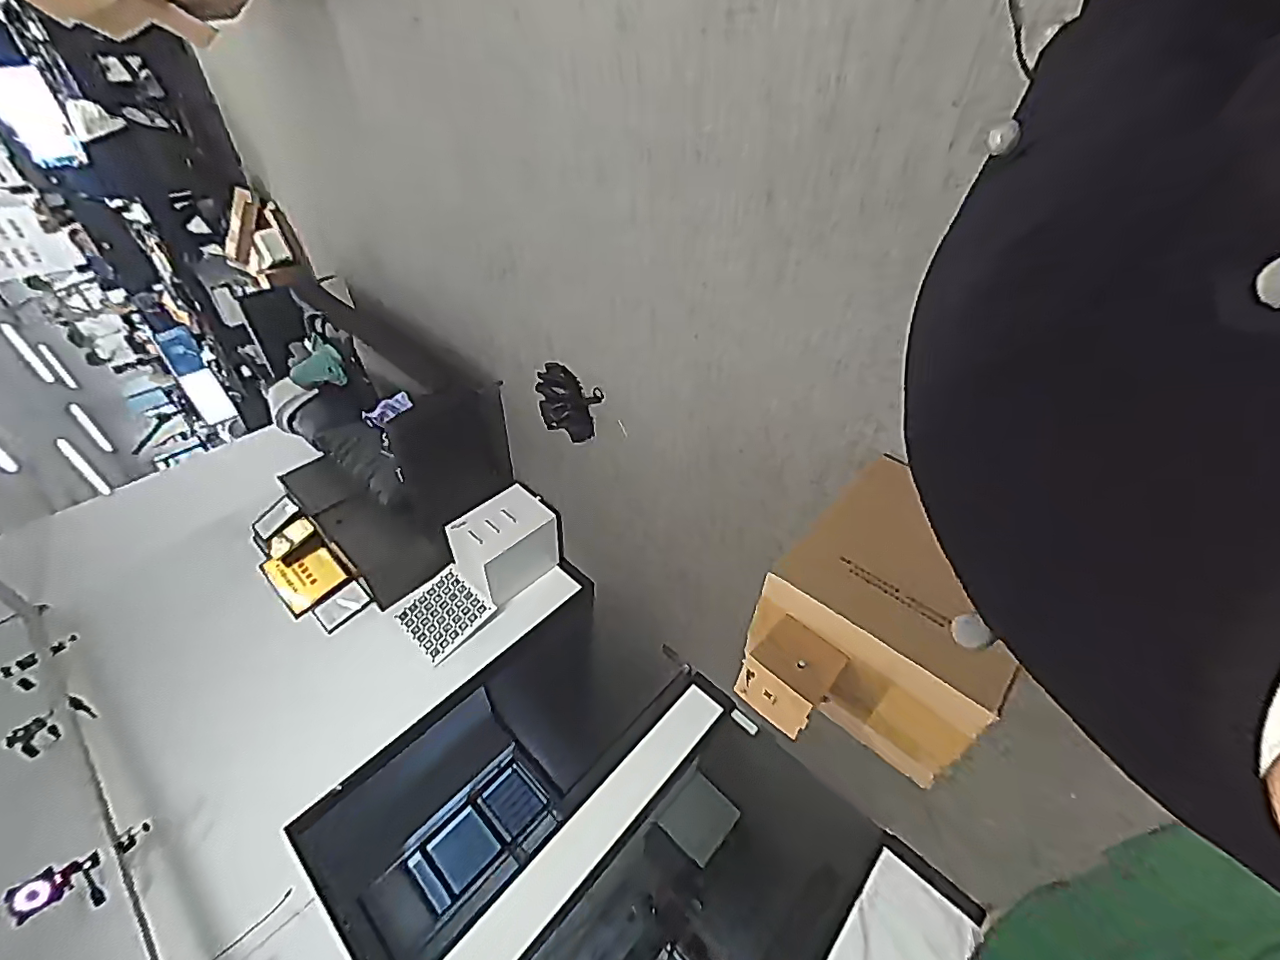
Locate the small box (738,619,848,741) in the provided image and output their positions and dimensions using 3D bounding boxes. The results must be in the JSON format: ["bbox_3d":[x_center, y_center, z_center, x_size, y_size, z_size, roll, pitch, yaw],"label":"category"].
[{"bbox_3d":[0.364,0.467,1.286,0.179,0.176,0.168,33,136,28],"label":"small box"}]
